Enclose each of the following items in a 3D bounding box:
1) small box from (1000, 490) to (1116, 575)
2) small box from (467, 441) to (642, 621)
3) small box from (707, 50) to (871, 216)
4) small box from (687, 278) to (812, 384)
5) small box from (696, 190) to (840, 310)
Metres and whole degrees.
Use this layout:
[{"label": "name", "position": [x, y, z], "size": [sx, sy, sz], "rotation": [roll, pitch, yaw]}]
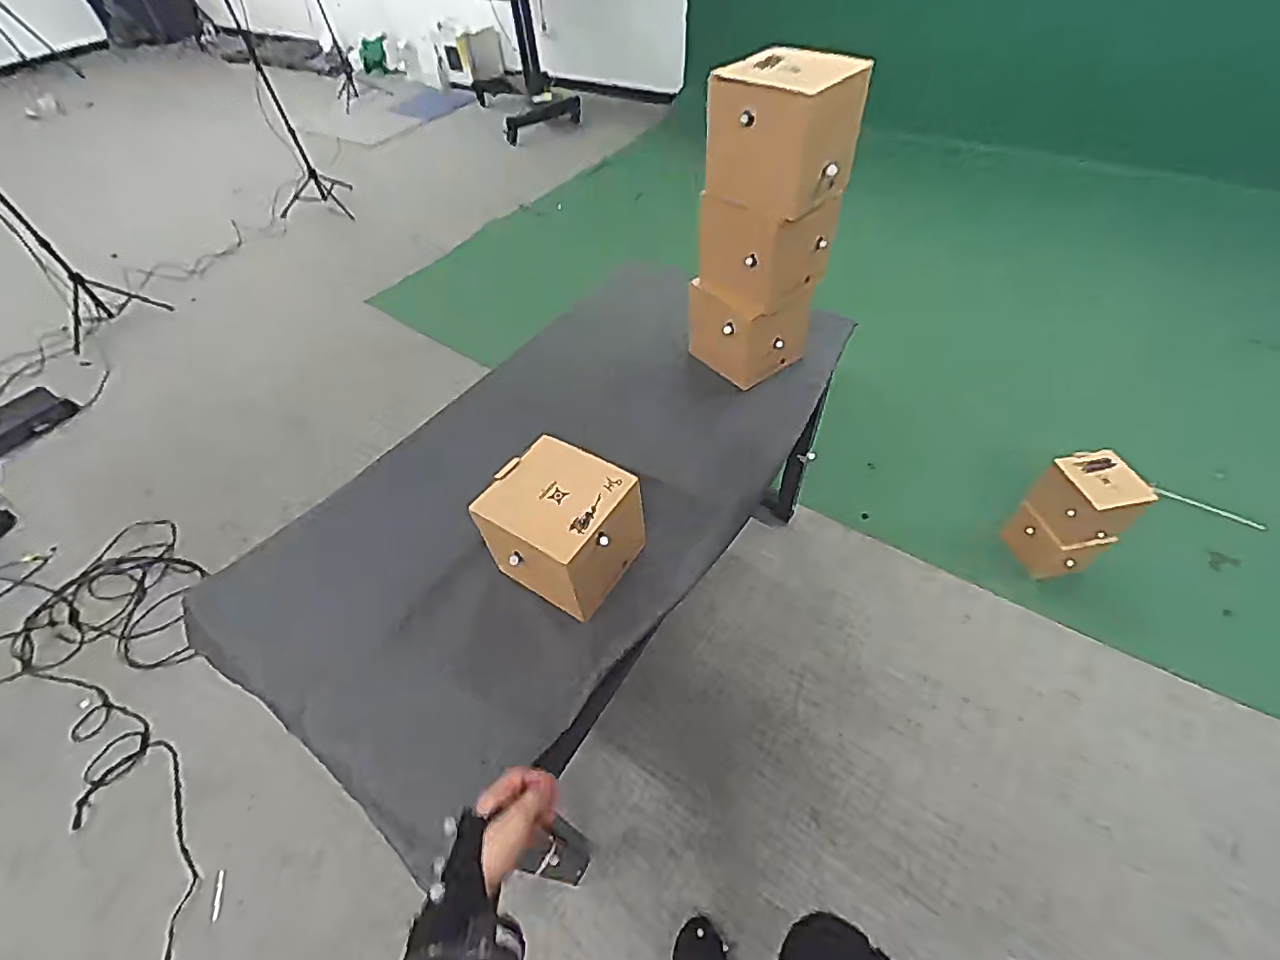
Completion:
[{"label": "small box", "position": [1.200, 0.159, 1.568], "size": [0.168, 0.176, 0.179], "rotation": [-10, 51, -4]}, {"label": "small box", "position": [-0.114, 0.077, 0.791], "size": [0.179, 0.176, 0.168], "rotation": [25, 57, 24]}, {"label": "small box", "position": [0.216, -0.532, 0.832], "size": [0.179, 0.176, 0.168], "rotation": [34, 60, 28]}, {"label": "small box", "position": [0.211, -0.314, 1.077], "size": [0.168, 0.176, 0.179], "rotation": [-31, 53, -20]}, {"label": "small box", "position": [0.218, -0.425, 0.957], "size": [0.168, 0.176, 0.179], "rotation": [-35, 55, -23]}]
